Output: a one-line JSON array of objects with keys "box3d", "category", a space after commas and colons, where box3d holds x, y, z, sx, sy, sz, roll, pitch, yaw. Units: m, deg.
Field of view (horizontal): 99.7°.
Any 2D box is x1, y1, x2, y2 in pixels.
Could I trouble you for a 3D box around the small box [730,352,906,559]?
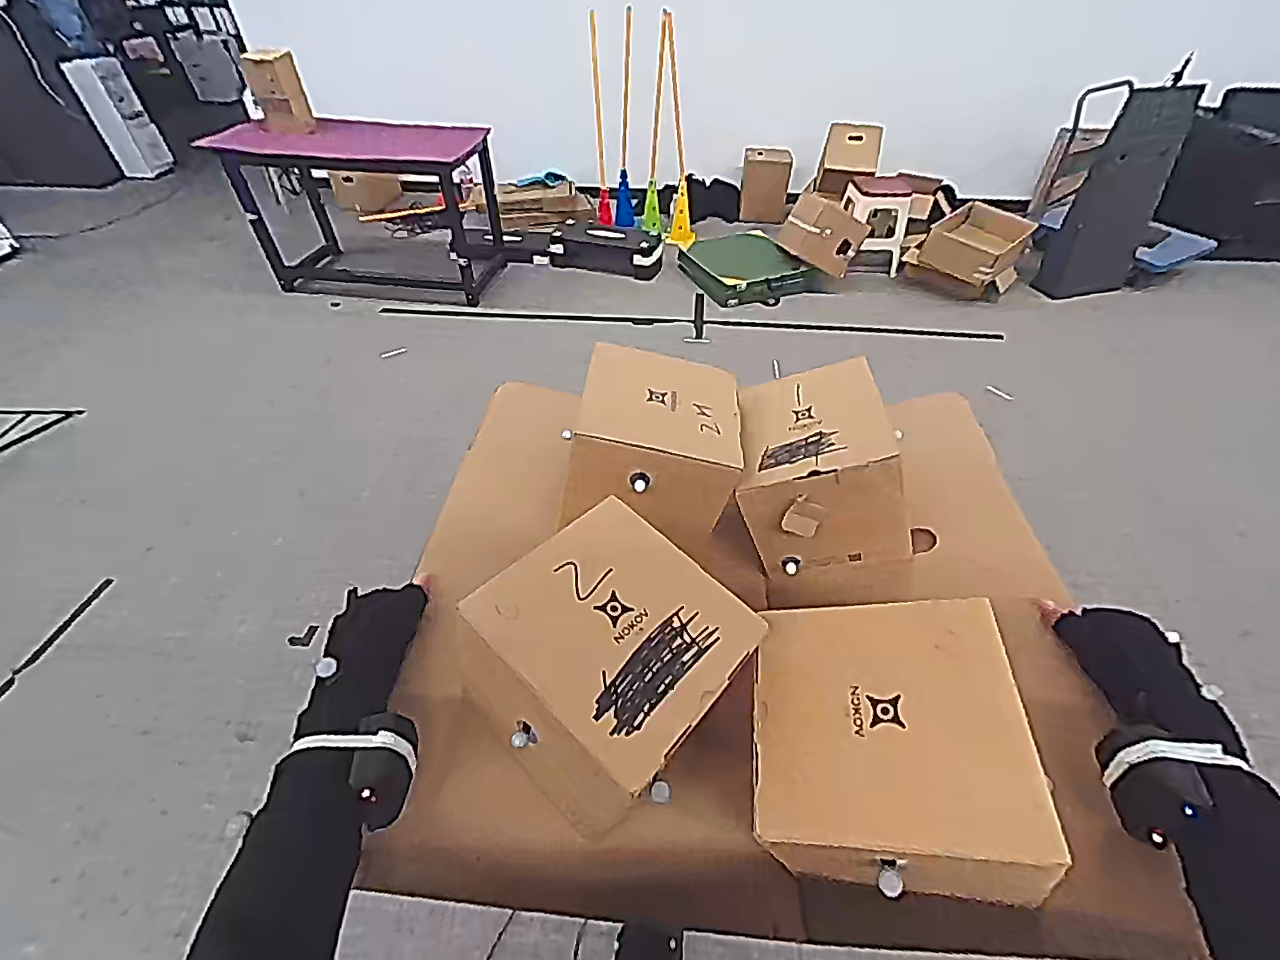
[{"box3d": [0.212, -0.019, 0.653, 0.168, 0.176, 0.179, -12, 42, 20], "category": "small box"}]
